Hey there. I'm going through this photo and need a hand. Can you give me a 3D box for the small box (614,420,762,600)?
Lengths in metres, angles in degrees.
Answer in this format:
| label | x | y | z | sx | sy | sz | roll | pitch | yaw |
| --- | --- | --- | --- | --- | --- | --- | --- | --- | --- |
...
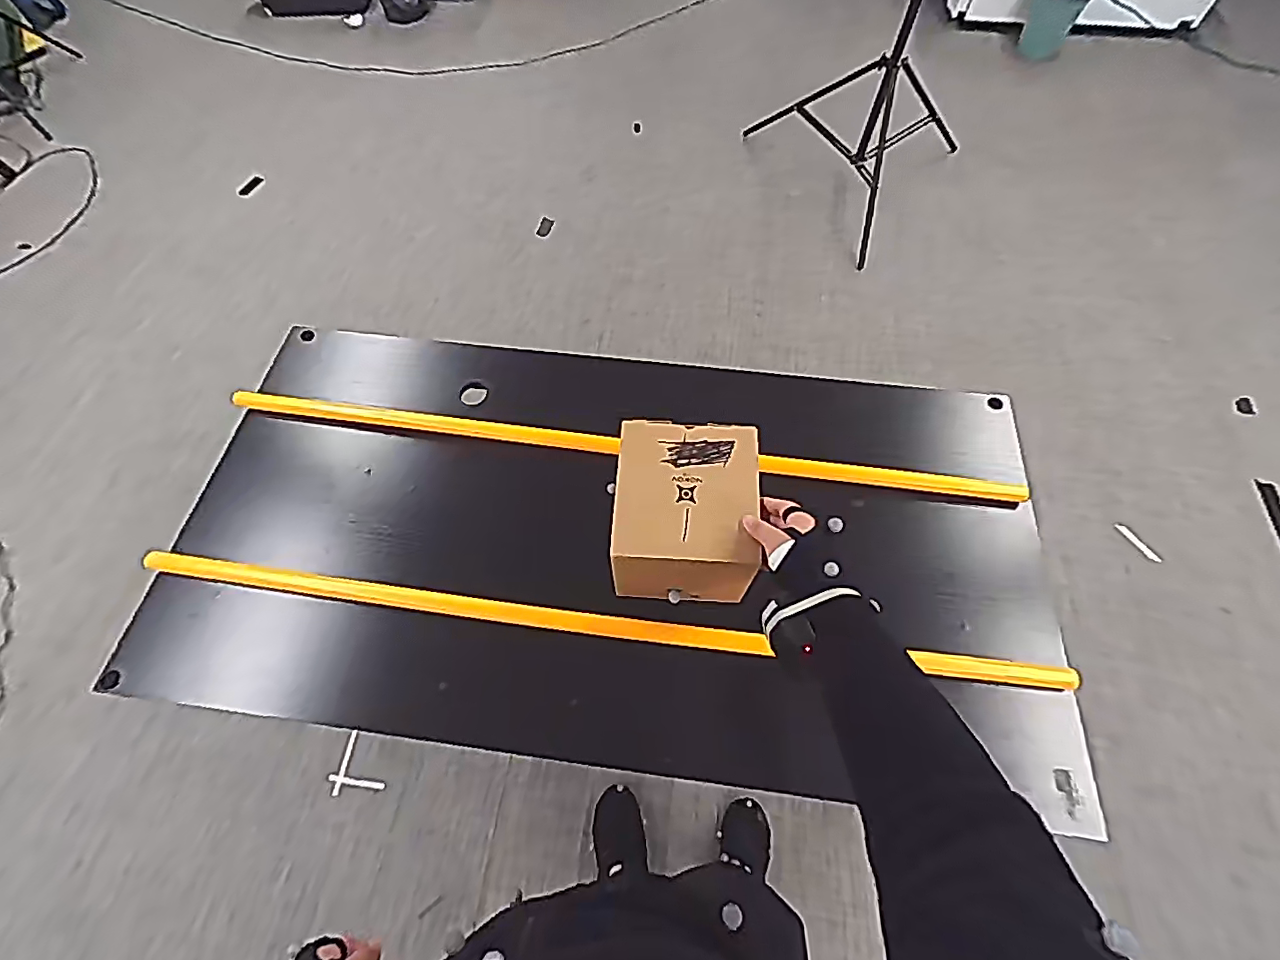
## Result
| label | x | y | z | sx | sy | sz | roll | pitch | yaw |
| --- | --- | --- | --- | --- | --- | --- | --- | --- | --- |
| small box | 0.058 | 0.043 | 0.697 | 0.168 | 0.176 | 0.179 | 3 | 64 | 3 |
